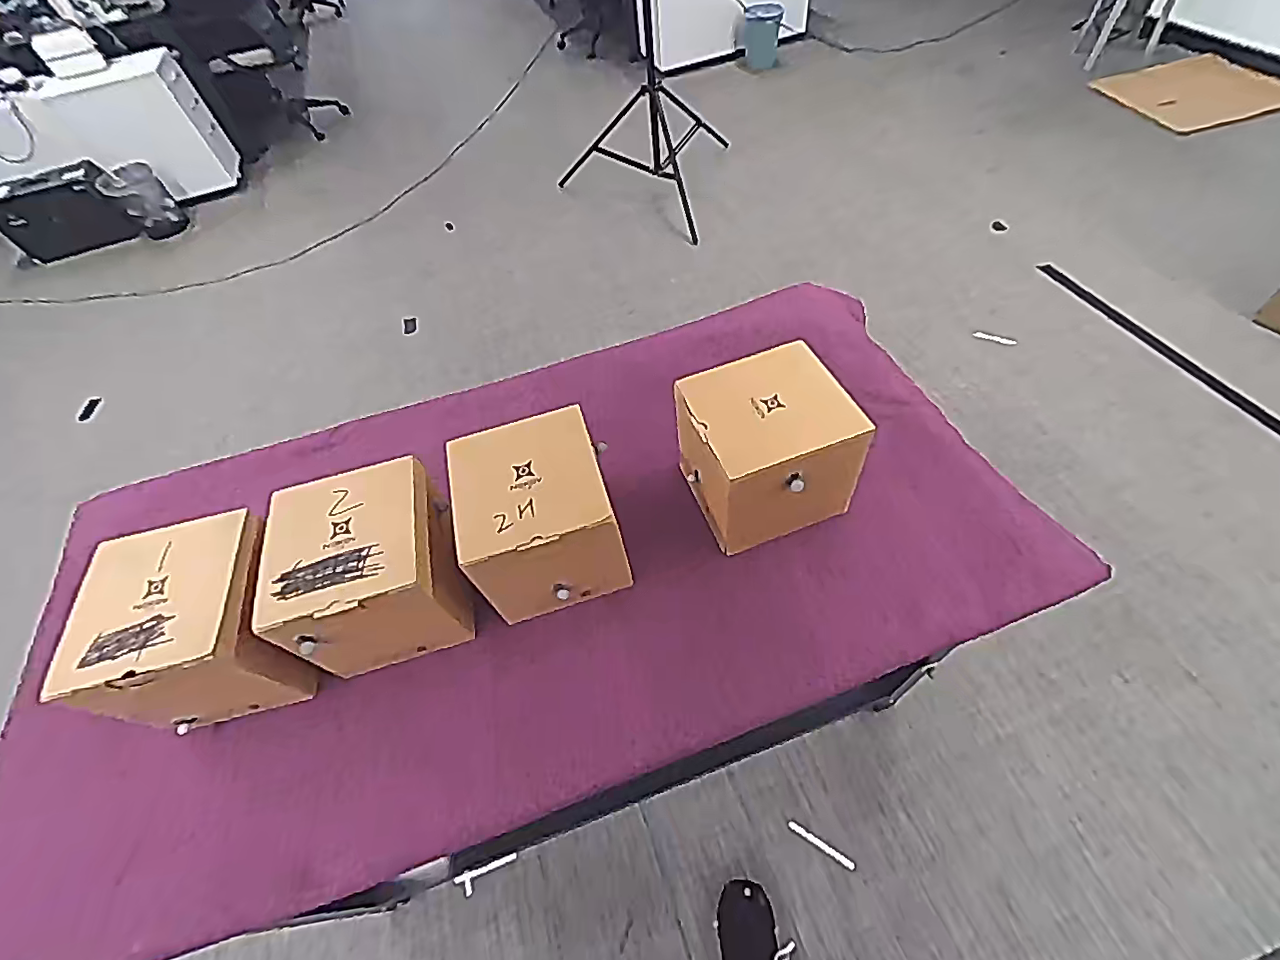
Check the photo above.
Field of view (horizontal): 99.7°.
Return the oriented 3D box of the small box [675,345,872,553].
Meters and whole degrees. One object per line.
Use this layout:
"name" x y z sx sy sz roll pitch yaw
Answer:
"small box" 0.156 -0.035 0.687 0.179 0.176 0.168 -20 54 -5
